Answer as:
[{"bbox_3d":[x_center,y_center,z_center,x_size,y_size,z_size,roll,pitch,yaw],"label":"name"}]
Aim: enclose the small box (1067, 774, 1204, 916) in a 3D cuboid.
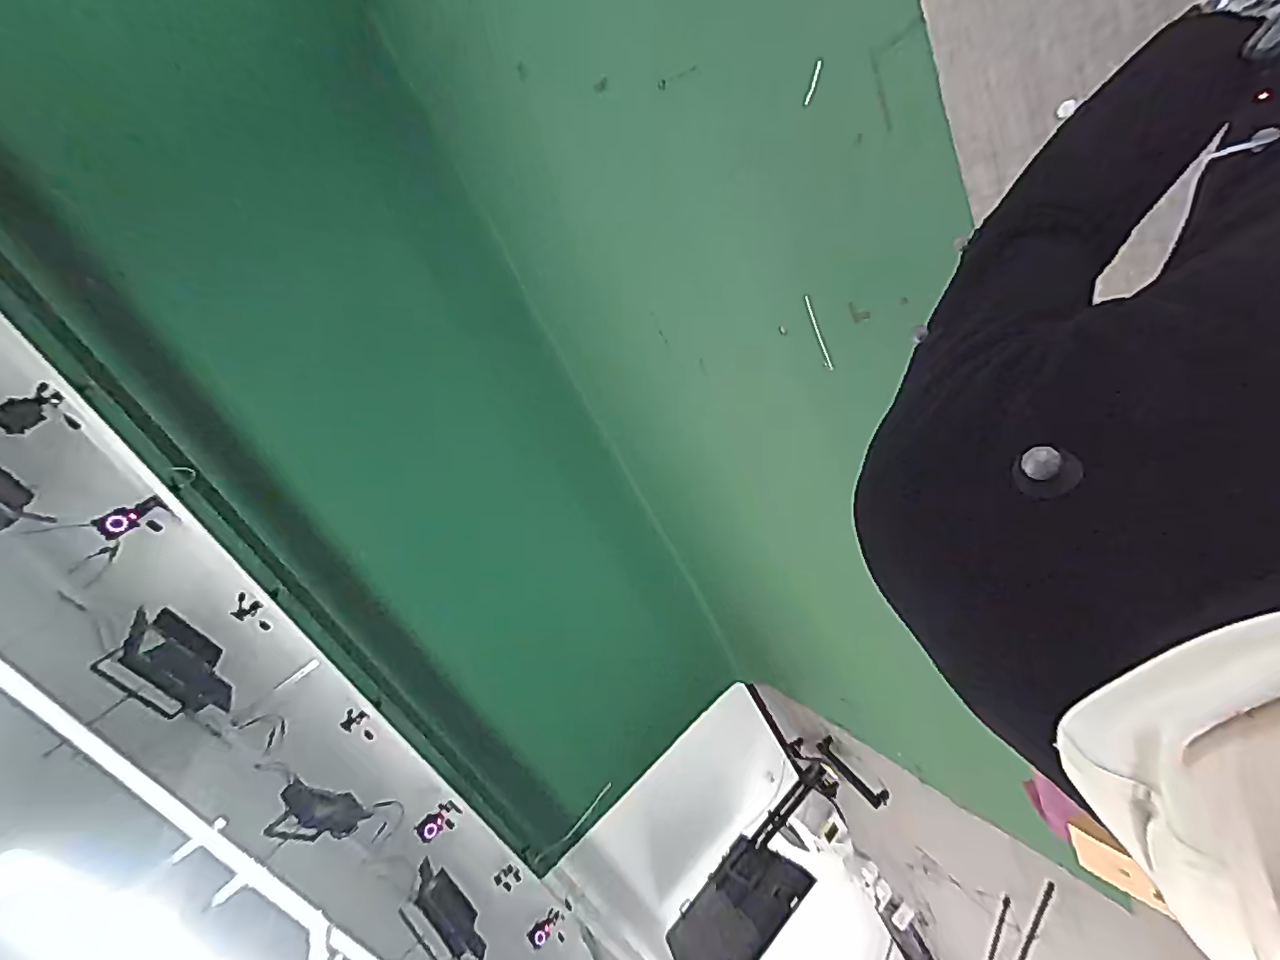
[{"bbox_3d":[1.110,0.801,1.212,0.179,0.176,0.168,10,134,60],"label":"small box"}]
